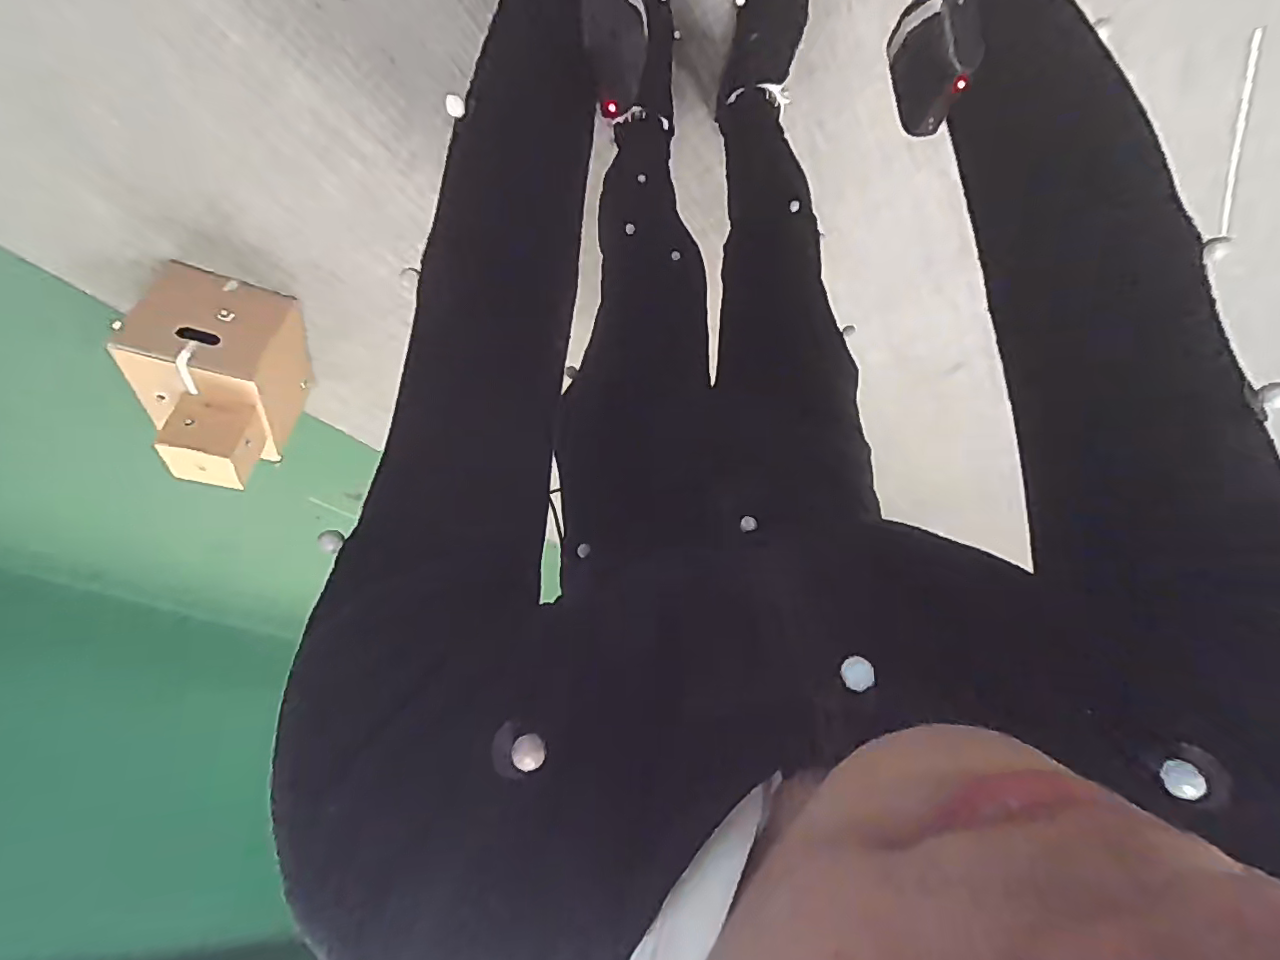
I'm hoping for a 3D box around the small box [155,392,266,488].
[{"bbox_3d":[-1.128,-0.106,1.435,0.168,0.176,0.179,14,147,-18],"label":"small box"}]
